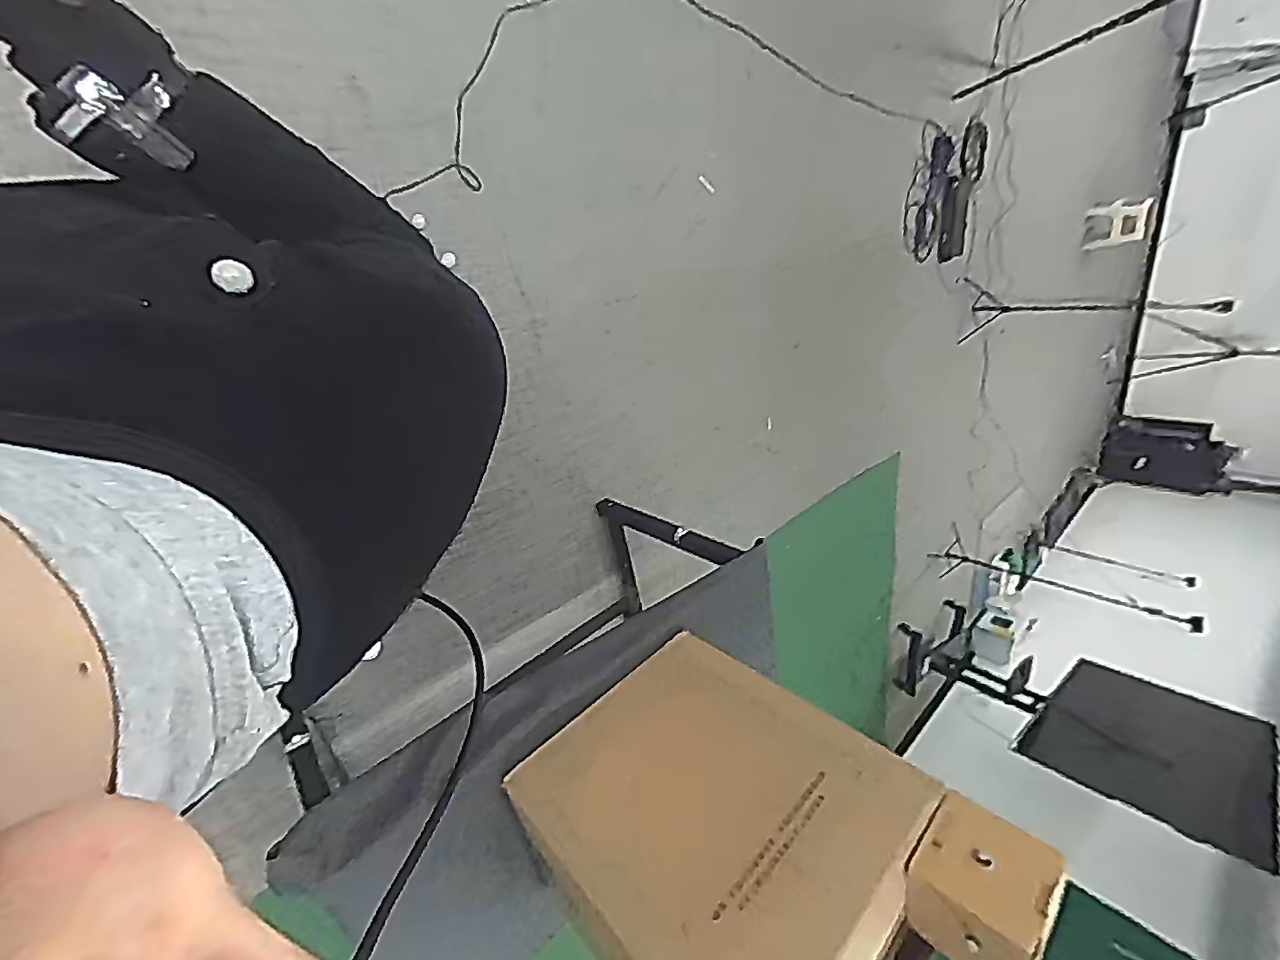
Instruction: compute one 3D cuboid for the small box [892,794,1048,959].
[{"bbox_3d":[0.521,0.646,0.864,0.168,0.176,0.179,-32,122,-33],"label":"small box"}]
